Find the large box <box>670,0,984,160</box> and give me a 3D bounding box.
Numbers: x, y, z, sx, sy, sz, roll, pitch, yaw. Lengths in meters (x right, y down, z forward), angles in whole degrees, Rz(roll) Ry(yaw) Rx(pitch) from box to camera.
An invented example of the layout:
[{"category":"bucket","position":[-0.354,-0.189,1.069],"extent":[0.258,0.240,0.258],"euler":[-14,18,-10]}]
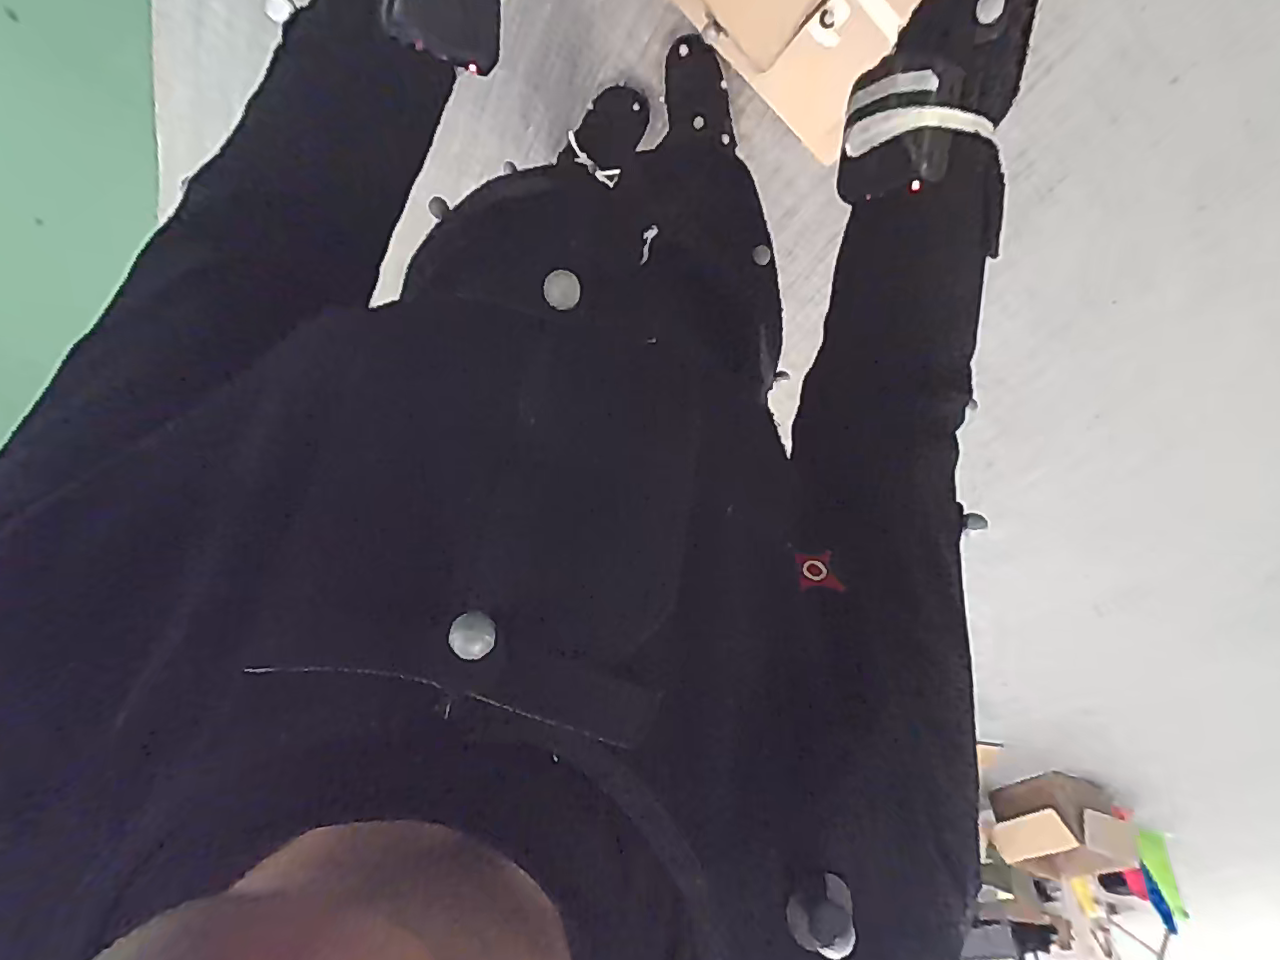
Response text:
[{"category":"large box","position":[0.239,-0.751,0.750],"extent":[0.408,0.320,0.320],"euler":[33,131,-20]}]
